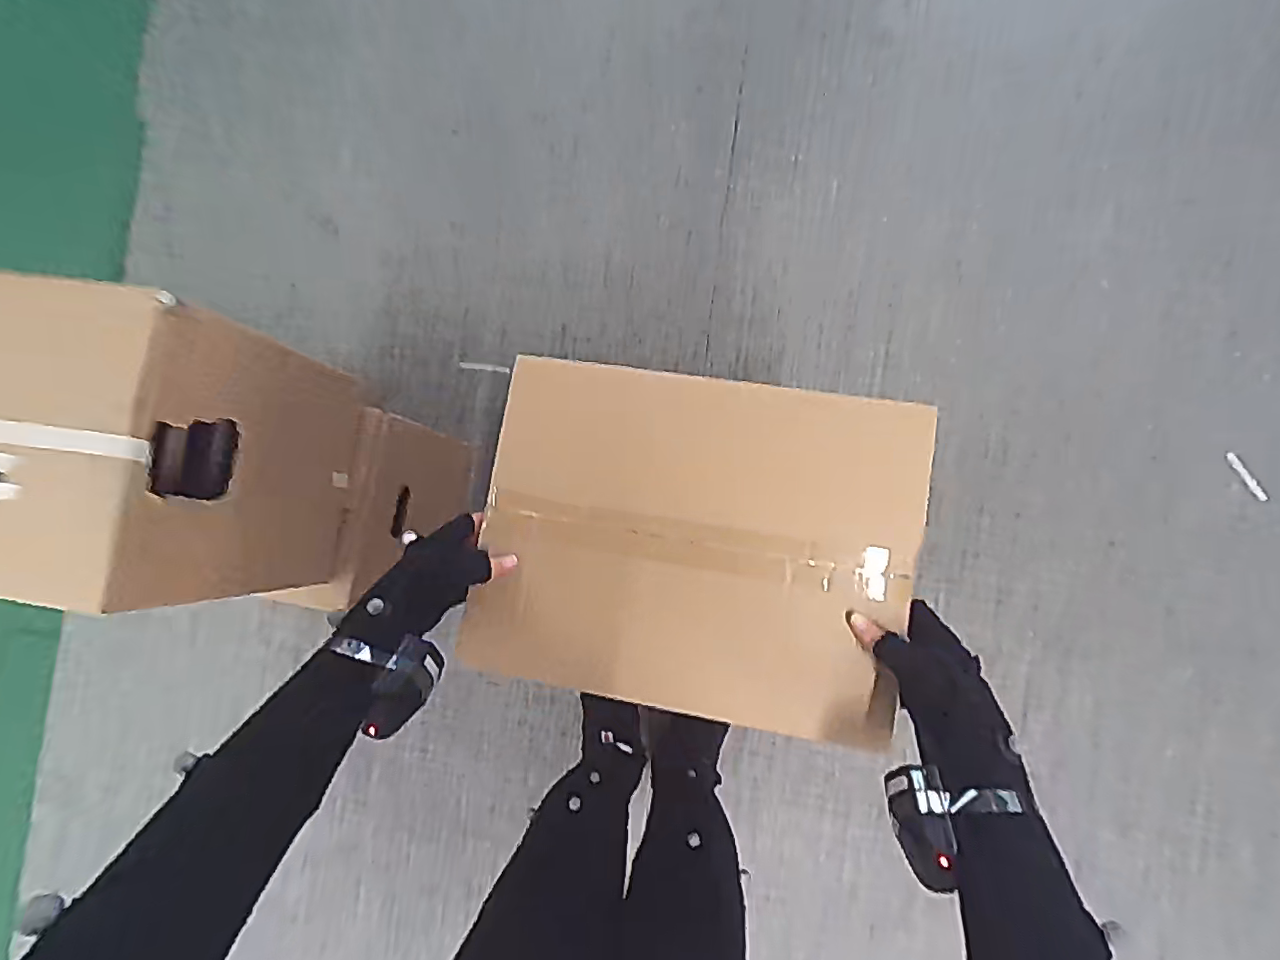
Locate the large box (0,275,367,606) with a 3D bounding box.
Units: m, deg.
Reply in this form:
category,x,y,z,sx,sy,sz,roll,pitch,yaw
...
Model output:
category,x,y,z,sx,sy,sz,roll,pitch,yaw
large box,-0.642,-0.038,0.680,0.408,0.320,0.320,8,85,6
